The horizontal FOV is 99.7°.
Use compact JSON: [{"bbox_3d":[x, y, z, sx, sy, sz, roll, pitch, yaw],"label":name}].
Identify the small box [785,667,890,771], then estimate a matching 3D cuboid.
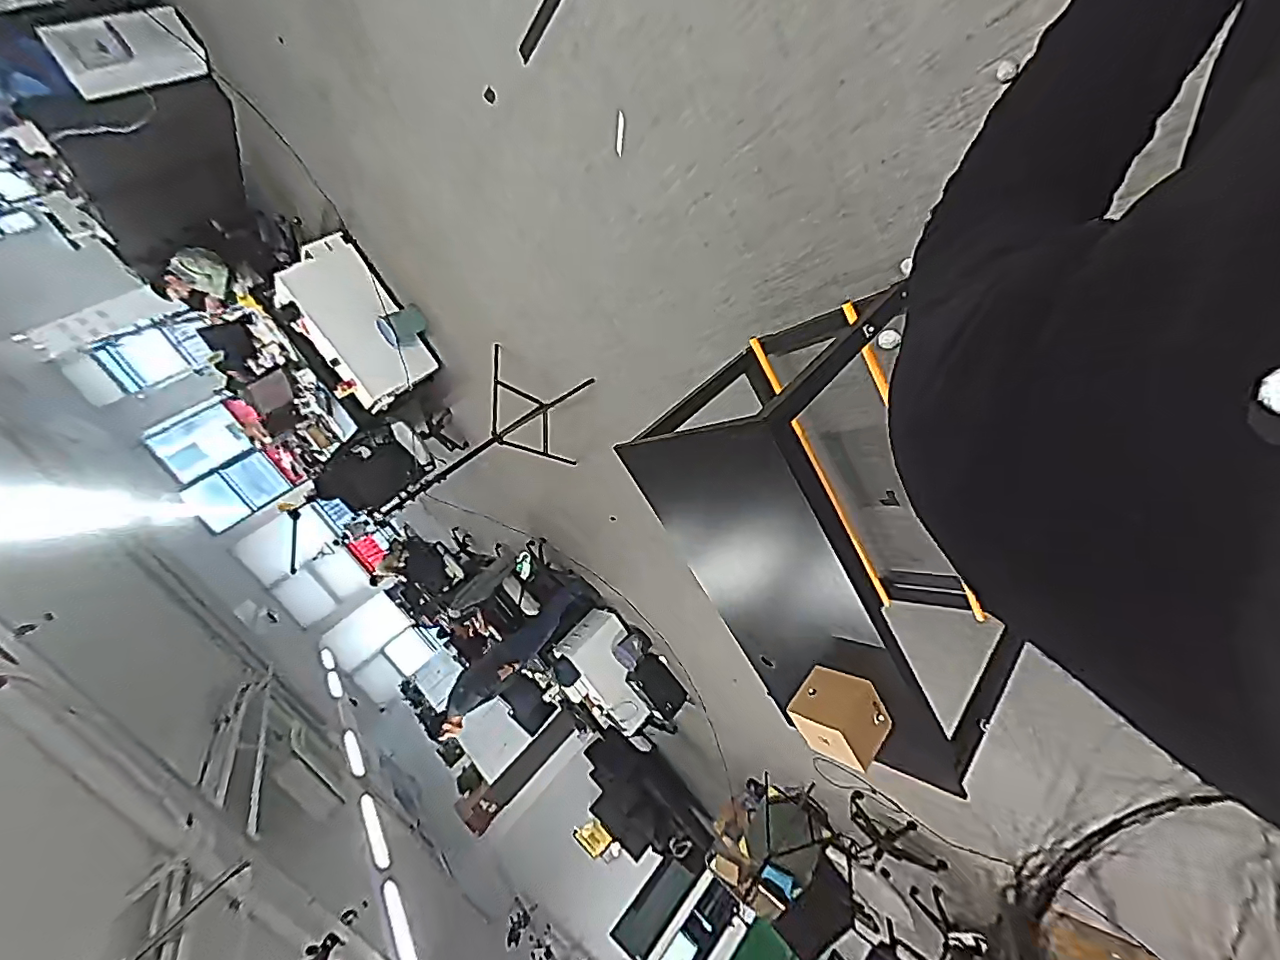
[{"bbox_3d":[0.534,0.632,1.457,0.179,0.176,0.168,-5,123,56],"label":"small box"}]
